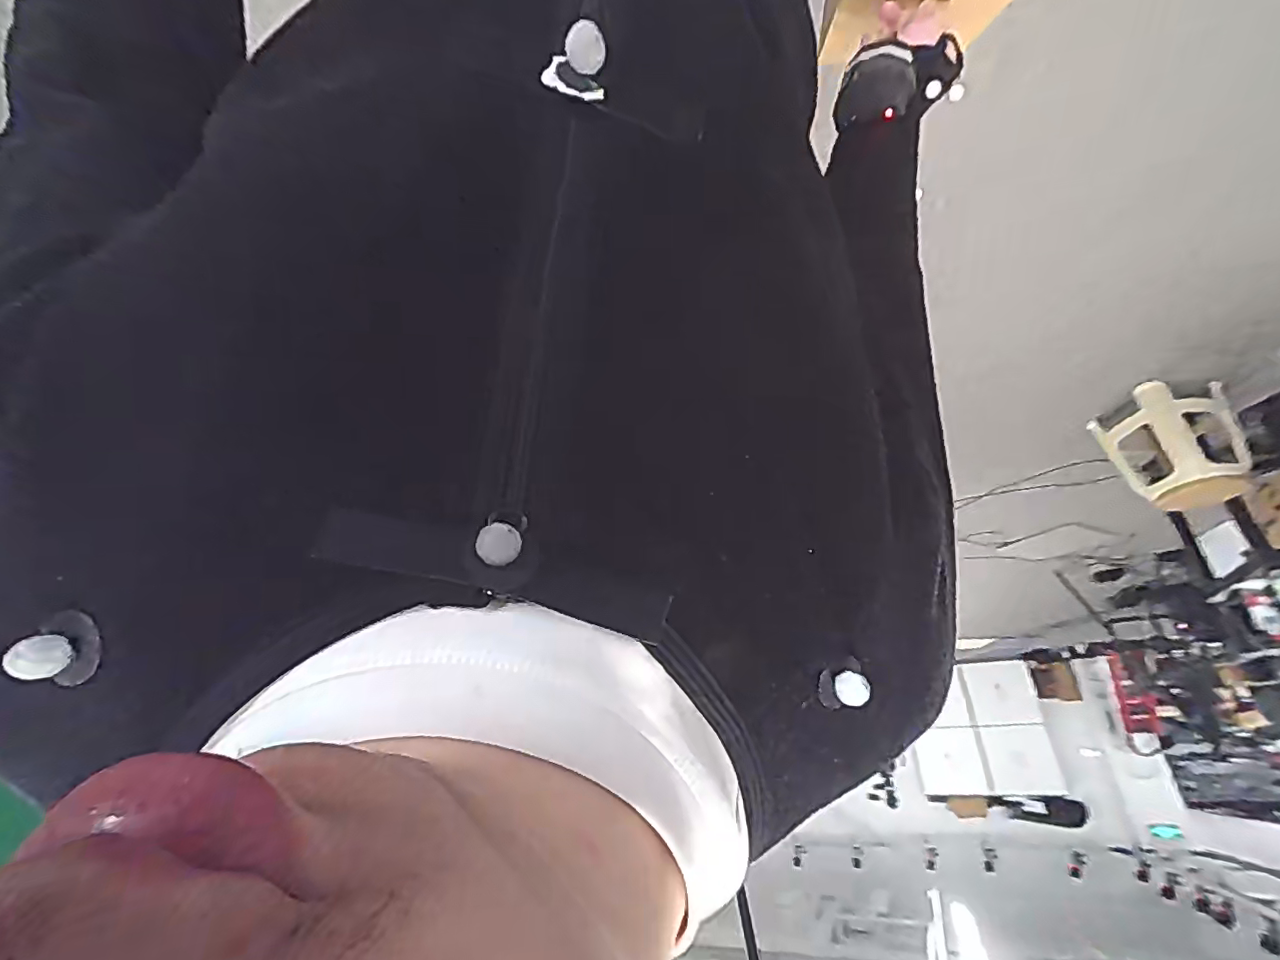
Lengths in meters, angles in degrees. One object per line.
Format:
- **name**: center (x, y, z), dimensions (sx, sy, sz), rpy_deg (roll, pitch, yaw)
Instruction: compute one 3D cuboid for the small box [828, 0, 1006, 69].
- **small box**: center (0.294, -0.561, 0.562), dimensions (0.168, 0.179, 0.176), rpy_deg (3, -164, 12)
